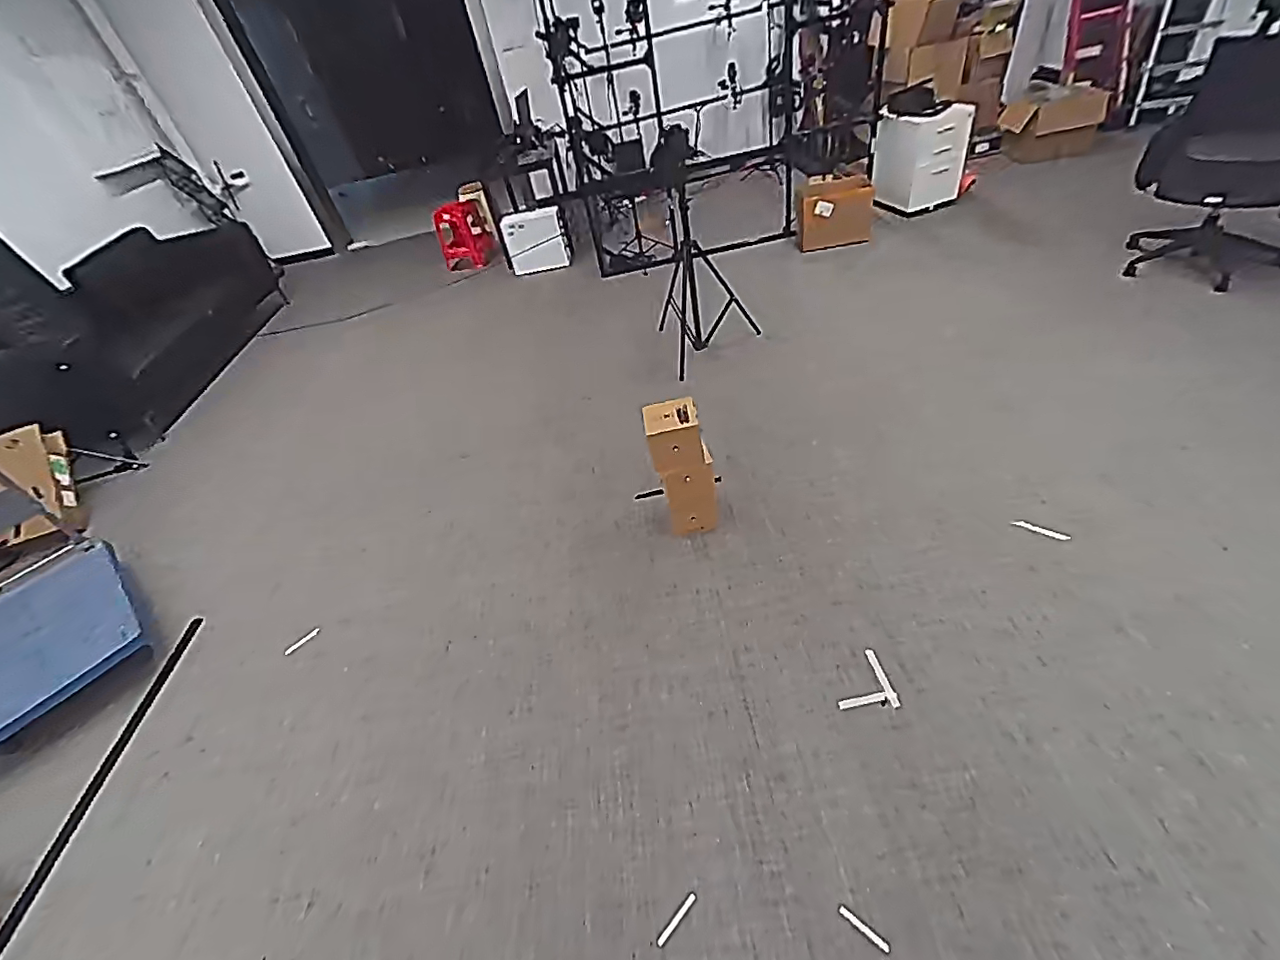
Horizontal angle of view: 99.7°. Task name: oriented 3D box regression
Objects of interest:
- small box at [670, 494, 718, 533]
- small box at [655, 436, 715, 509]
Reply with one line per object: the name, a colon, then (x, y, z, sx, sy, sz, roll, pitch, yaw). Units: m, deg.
small box: (0.199, 0.087, 2.048, 0.168, 0.176, 0.179, -9, 41, 5)
small box: (0.165, -0.025, 1.934, 0.179, 0.176, 0.168, -16, 41, -1)
